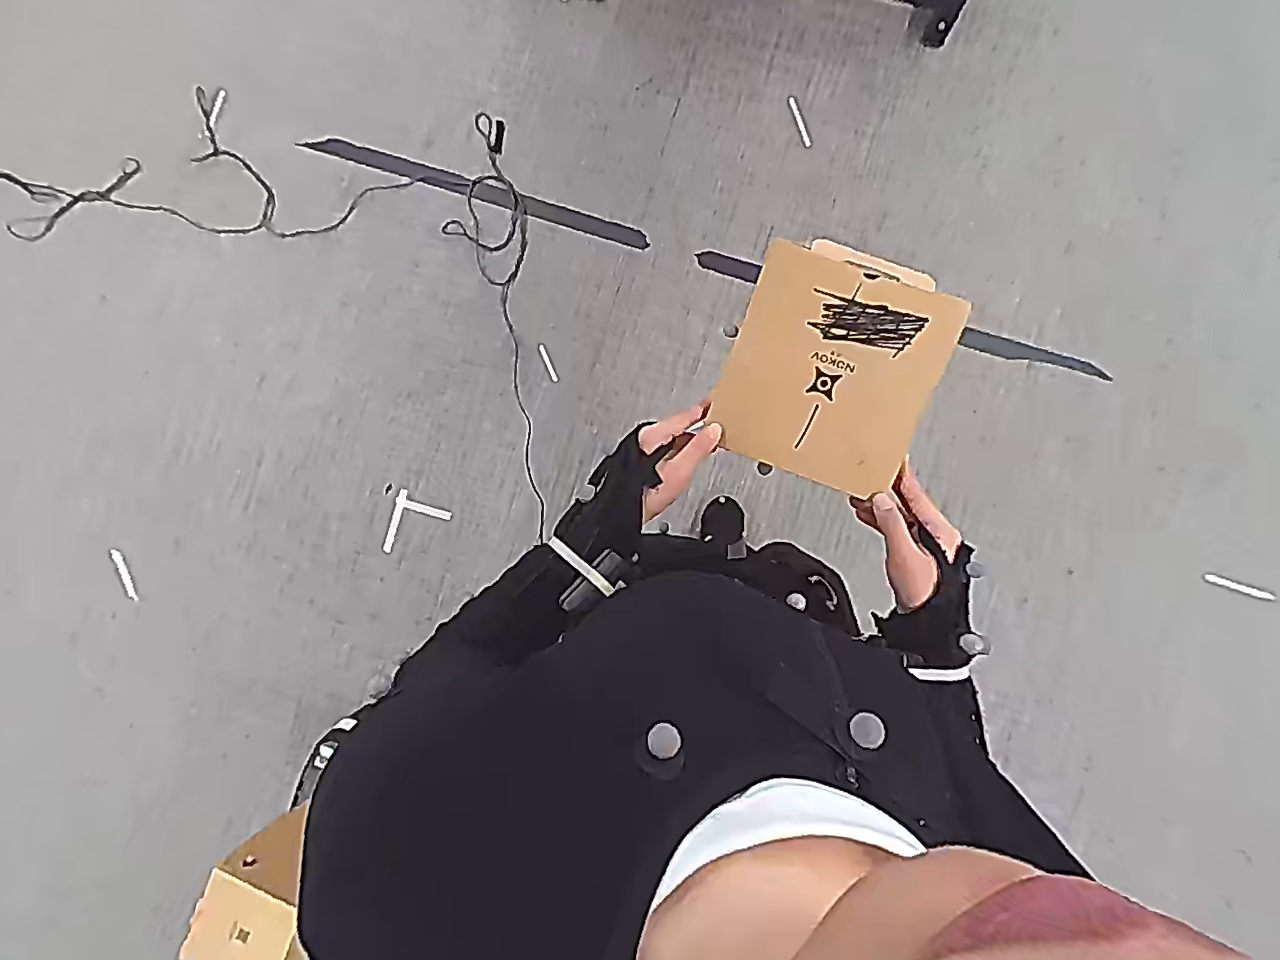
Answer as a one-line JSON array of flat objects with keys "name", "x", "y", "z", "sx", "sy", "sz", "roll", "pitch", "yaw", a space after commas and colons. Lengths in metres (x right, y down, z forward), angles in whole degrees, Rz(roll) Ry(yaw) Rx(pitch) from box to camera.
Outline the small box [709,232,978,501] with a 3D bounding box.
[{"name": "small box", "x": 0.170, "y": -0.100, "z": 0.517, "sx": 0.168, "sy": 0.176, "sz": 0.179, "roll": 21, "pitch": 99, "yaw": 5}]

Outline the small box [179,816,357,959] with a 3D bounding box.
[{"name": "small box", "x": -0.651, "y": 0.749, "z": 0.971, "sx": 0.179, "sy": 0.176, "sz": 0.168, "roll": 21, "pitch": 89, "yaw": 6}]
